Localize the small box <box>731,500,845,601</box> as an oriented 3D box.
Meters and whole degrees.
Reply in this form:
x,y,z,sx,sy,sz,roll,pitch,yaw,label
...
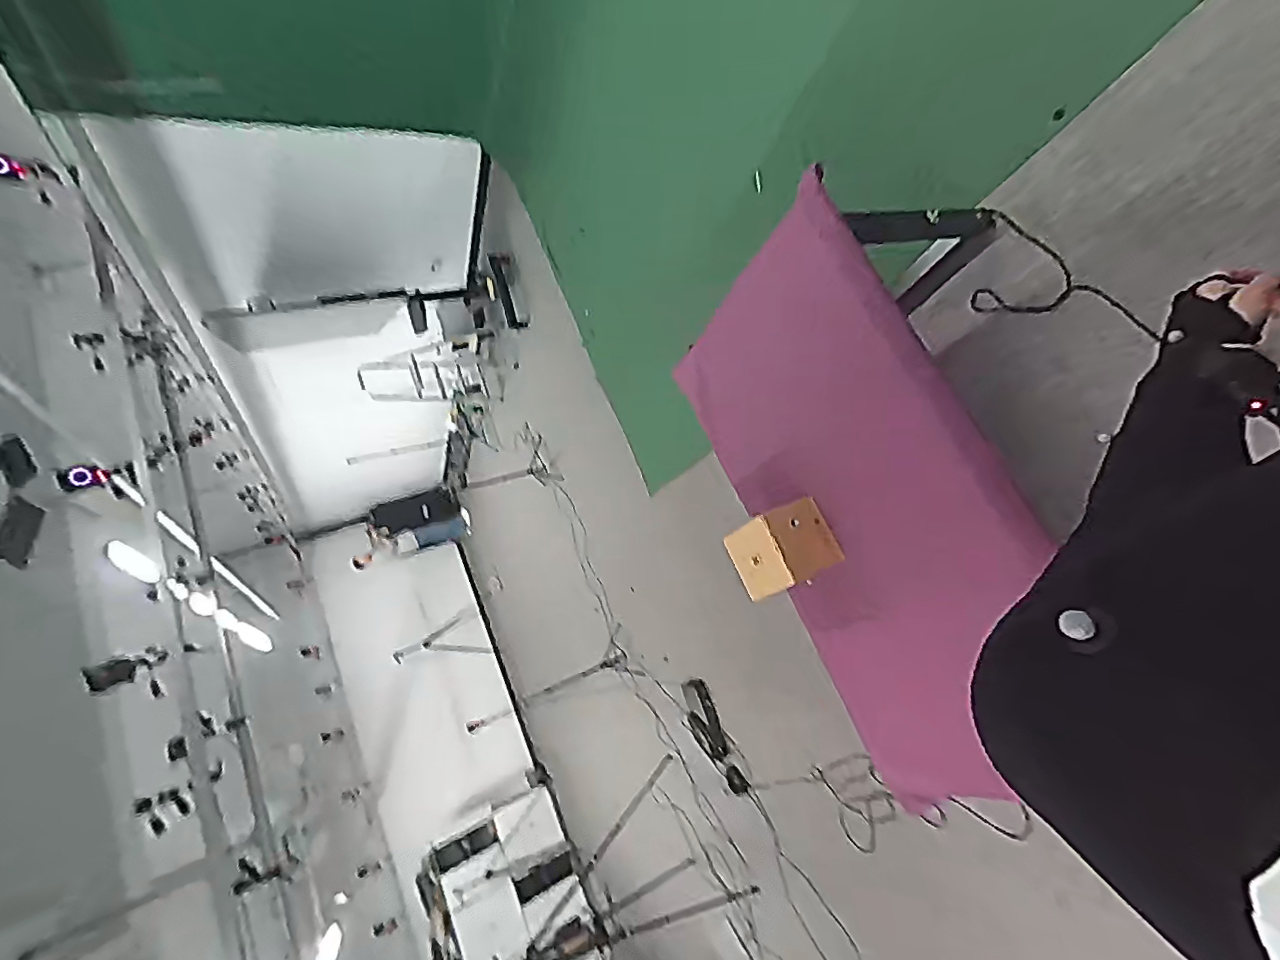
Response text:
x,y,z,sx,sy,sz,roll,pitch,yaw,label
0.355,0.166,1.282,0.168,0.176,0.179,66,151,16,small box
